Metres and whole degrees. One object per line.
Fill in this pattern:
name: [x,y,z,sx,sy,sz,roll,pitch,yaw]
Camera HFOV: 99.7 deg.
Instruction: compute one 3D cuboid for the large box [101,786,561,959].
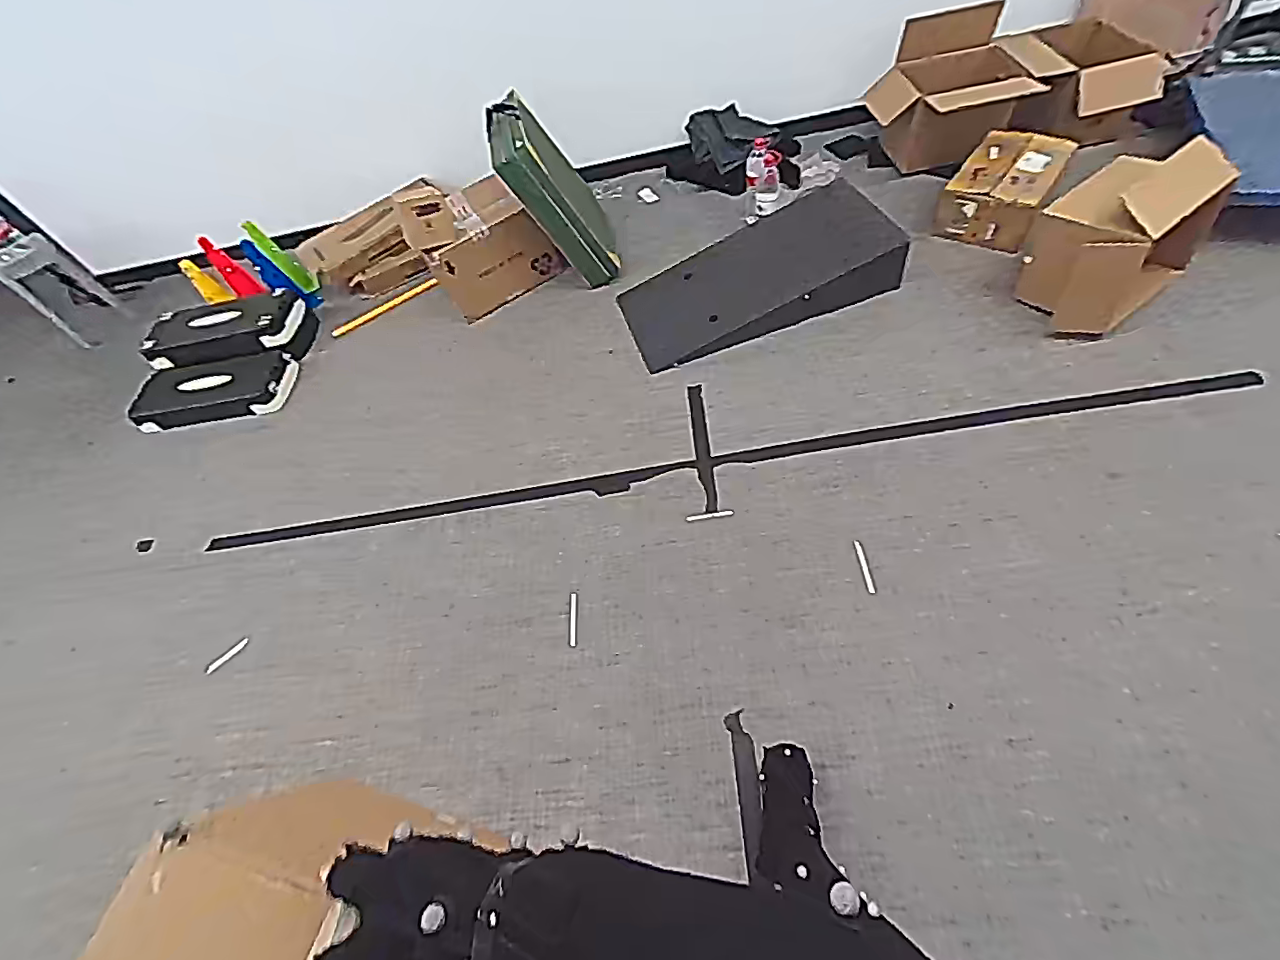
large box: [-0.282,0.542,0.468,0.320,0.320,0.408,18,65,1]
